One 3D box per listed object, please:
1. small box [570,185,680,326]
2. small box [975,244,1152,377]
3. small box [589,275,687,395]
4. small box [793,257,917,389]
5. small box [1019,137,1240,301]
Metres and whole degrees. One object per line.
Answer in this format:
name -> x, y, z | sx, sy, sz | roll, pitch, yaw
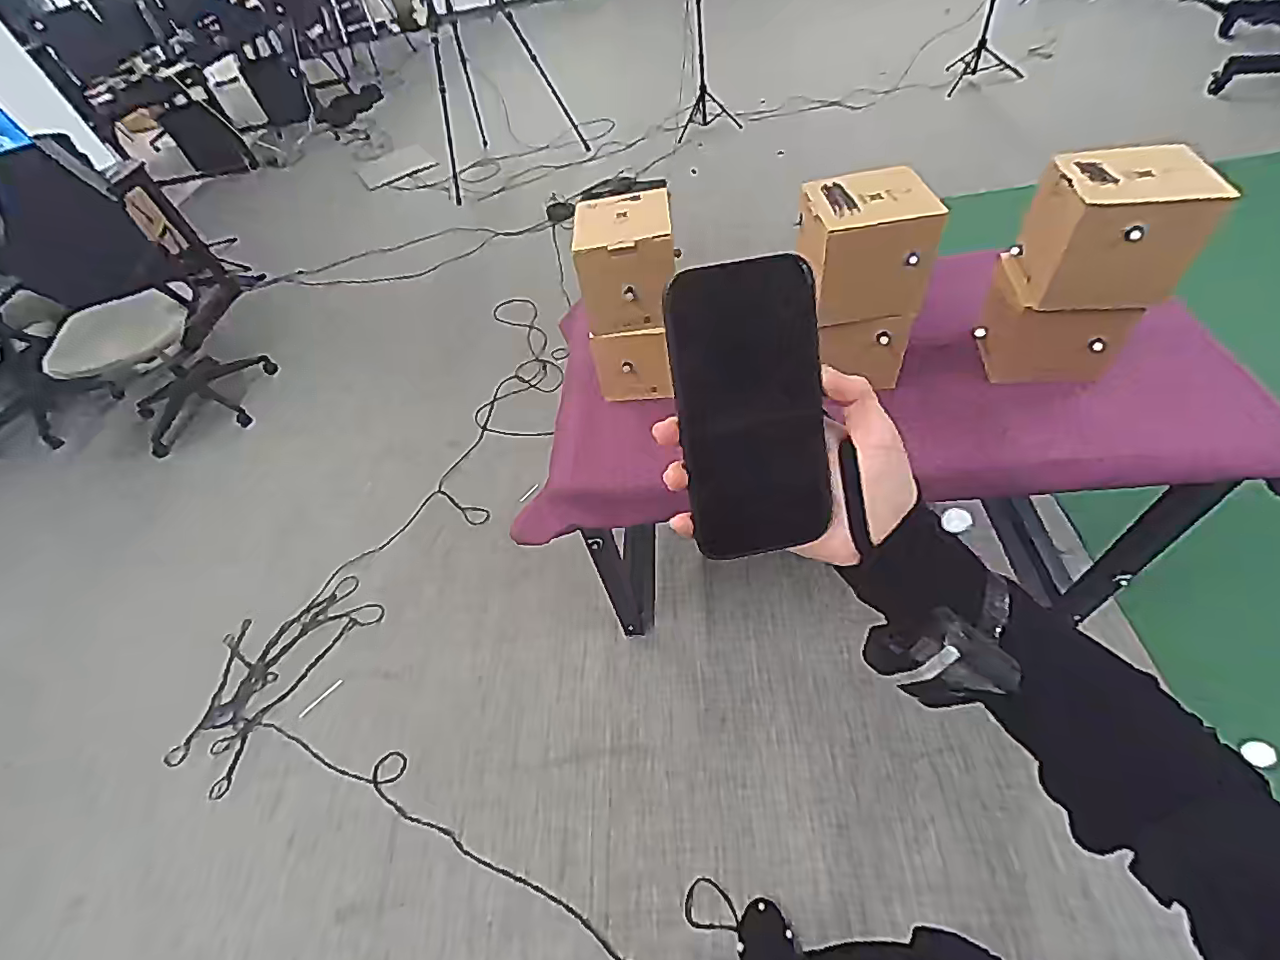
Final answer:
small box -> -0.020, -0.392, 0.970 | 0.168, 0.176, 0.179 | -6, 51, 6
small box -> 0.723, -0.296, 0.950 | 0.179, 0.176, 0.168 | 2, 52, 14
small box -> 0.006, -0.284, 1.091 | 0.168, 0.176, 0.179 | -3, 51, 10
small box -> 0.389, -0.289, 1.013 | 0.179, 0.176, 0.168 | -3, 51, 10
small box -> 0.705, -0.385, 0.813 | 0.179, 0.176, 0.168 | 2, 52, 13
